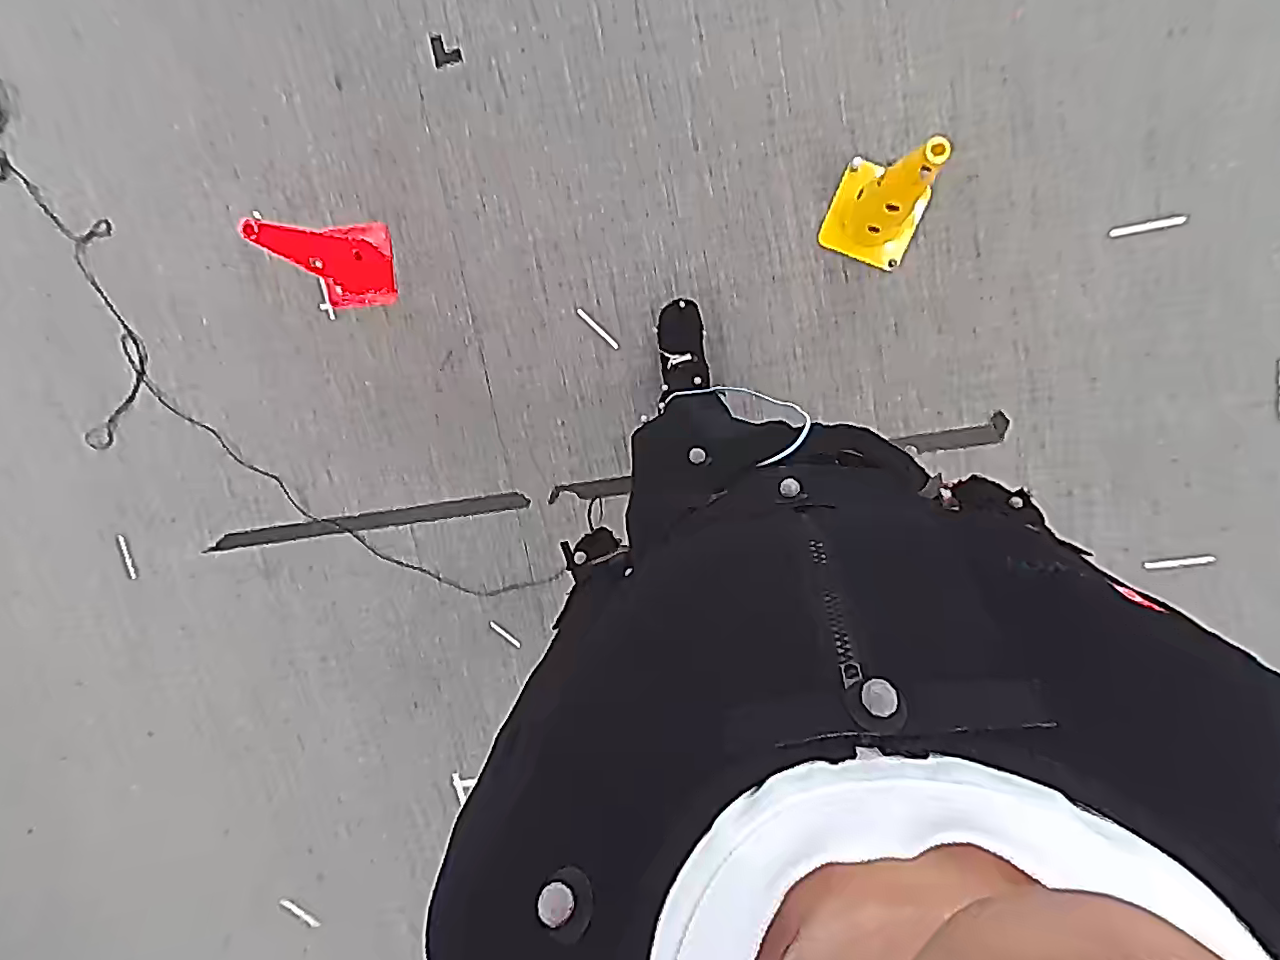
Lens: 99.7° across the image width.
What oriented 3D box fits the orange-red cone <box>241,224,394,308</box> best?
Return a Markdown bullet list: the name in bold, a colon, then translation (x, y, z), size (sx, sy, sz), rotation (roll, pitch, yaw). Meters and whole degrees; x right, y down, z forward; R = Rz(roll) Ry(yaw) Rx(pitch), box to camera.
- **orange-red cone**: translation (-0.764, -0.527, 1.254), size (0.199, 0.360, 0.198), rotation (-2, 100, 6)
